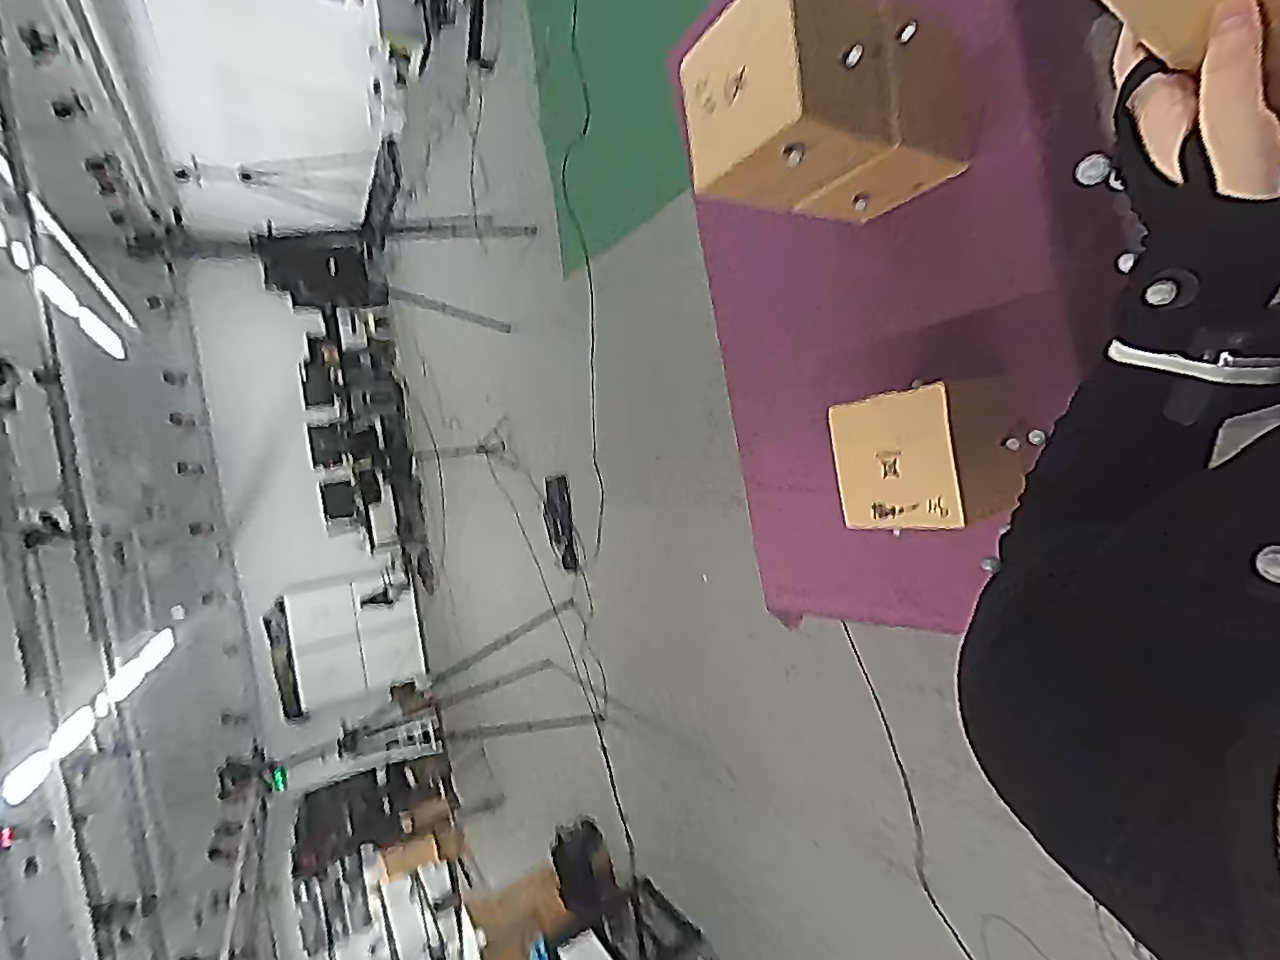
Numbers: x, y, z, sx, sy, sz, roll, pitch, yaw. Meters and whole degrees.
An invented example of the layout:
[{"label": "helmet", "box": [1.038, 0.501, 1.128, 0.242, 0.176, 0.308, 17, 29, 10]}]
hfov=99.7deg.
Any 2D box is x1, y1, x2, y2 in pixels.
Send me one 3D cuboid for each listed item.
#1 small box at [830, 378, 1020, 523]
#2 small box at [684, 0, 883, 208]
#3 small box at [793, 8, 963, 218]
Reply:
[{"label": "small box", "box": [0.393, -0.038, 0.749, 0.168, 0.176, 0.179, -7, 91, 58]}, {"label": "small box", "box": [0.180, -0.462, 0.669, 0.179, 0.176, 0.168, -2, 96, 58]}, {"label": "small box", "box": [0.320, -0.485, 0.752, 0.168, 0.176, 0.179, -6, 92, 58]}]
